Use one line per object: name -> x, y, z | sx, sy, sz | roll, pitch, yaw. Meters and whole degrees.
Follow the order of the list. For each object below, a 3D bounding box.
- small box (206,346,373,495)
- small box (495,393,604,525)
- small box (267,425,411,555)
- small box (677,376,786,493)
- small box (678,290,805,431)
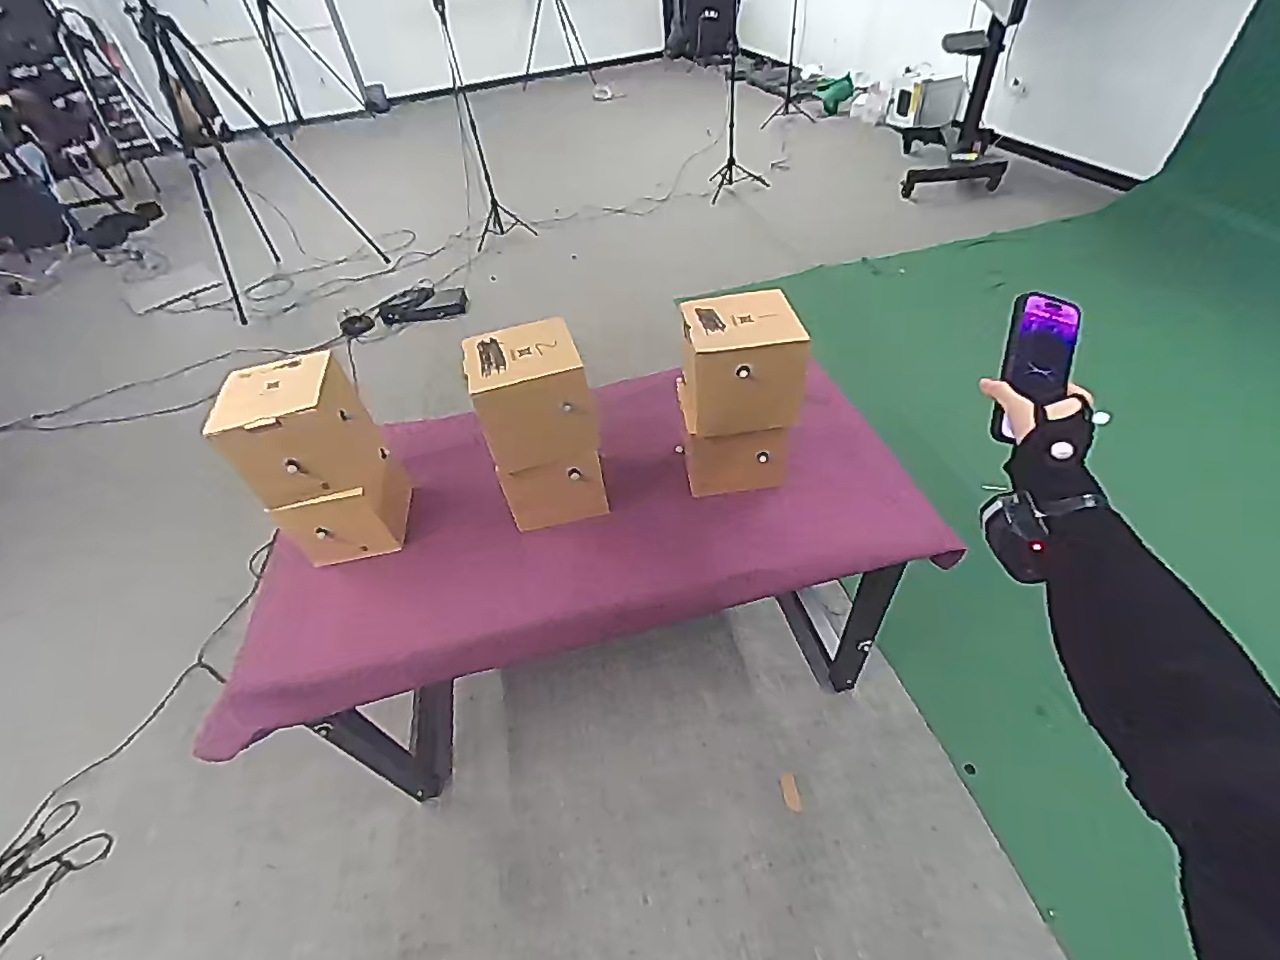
small box -> -0.571, -0.094, 0.912 | 0.168, 0.176, 0.179 | -14, 47, -7
small box -> -0.168, -0.038, 1.031 | 0.179, 0.176, 0.168 | -11, 46, -3
small box -> -0.553, 0.025, 1.025 | 0.168, 0.176, 0.179 | -11, 46, -3
small box -> 0.169, -0.094, 1.042 | 0.179, 0.176, 0.168 | -7, 46, 2
small box -> 0.163, -0.198, 0.914 | 0.179, 0.176, 0.168 | -7, 46, 0
